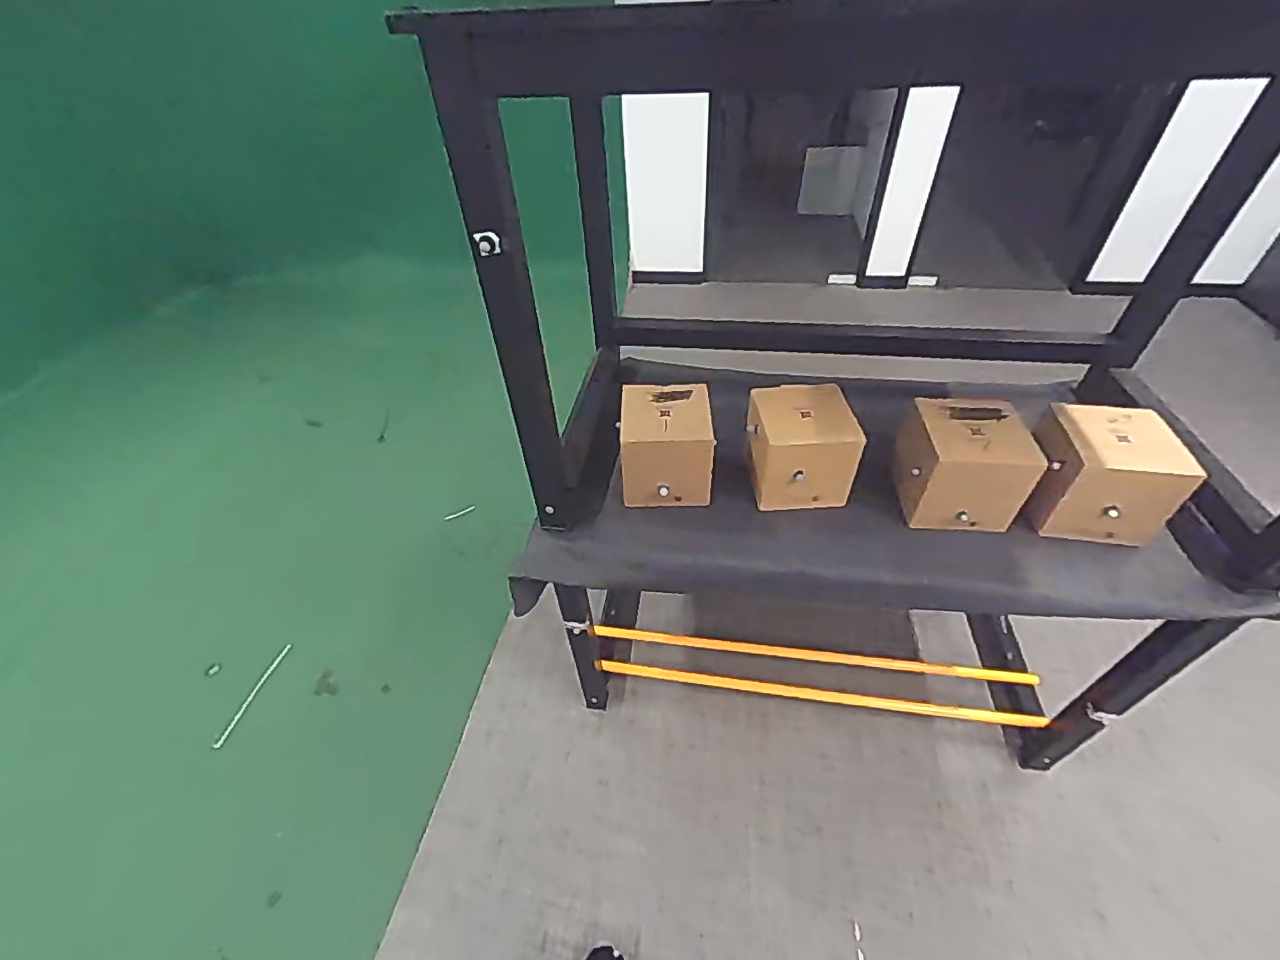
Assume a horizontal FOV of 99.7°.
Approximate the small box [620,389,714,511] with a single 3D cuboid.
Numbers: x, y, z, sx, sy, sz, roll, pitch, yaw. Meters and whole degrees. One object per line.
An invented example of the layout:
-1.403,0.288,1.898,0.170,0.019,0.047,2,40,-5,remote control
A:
0.050,-0.060,1.049,0.168,0.176,0.179,-2,44,2,small box
